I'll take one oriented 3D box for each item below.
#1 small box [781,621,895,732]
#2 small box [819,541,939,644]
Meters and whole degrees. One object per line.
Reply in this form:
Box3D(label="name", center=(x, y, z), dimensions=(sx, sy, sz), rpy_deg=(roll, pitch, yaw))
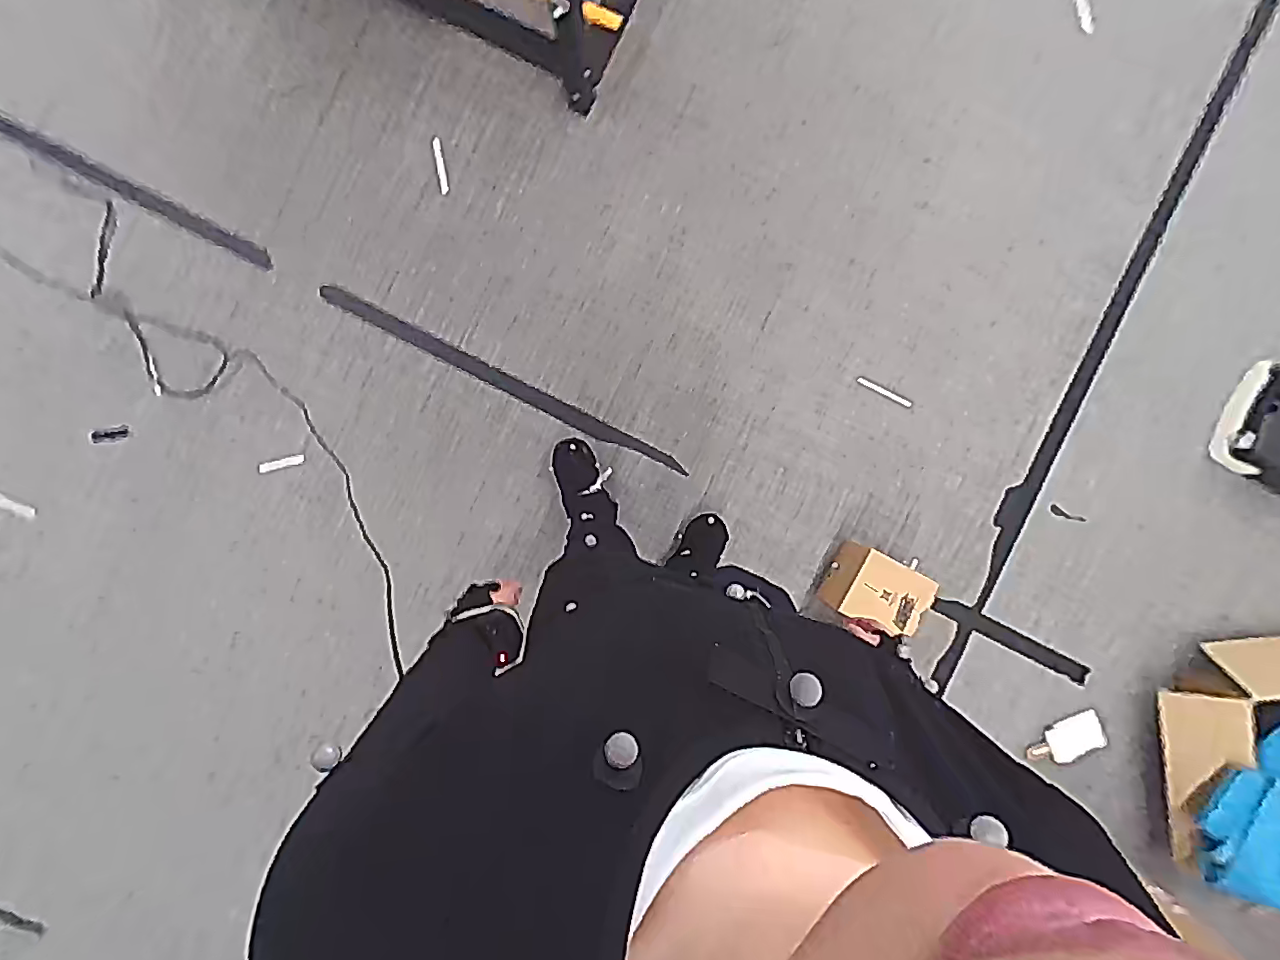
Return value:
Box3D(label="small box", center=(0.470, 0.465, 1.313), dimensions=(0.179, 0.176, 0.168), rpy_deg=(27, 92, 0))
Box3D(label="small box", center=(0.566, 0.260, 1.304), dimensions=(0.179, 0.176, 0.168), rpy_deg=(29, 91, 0))
